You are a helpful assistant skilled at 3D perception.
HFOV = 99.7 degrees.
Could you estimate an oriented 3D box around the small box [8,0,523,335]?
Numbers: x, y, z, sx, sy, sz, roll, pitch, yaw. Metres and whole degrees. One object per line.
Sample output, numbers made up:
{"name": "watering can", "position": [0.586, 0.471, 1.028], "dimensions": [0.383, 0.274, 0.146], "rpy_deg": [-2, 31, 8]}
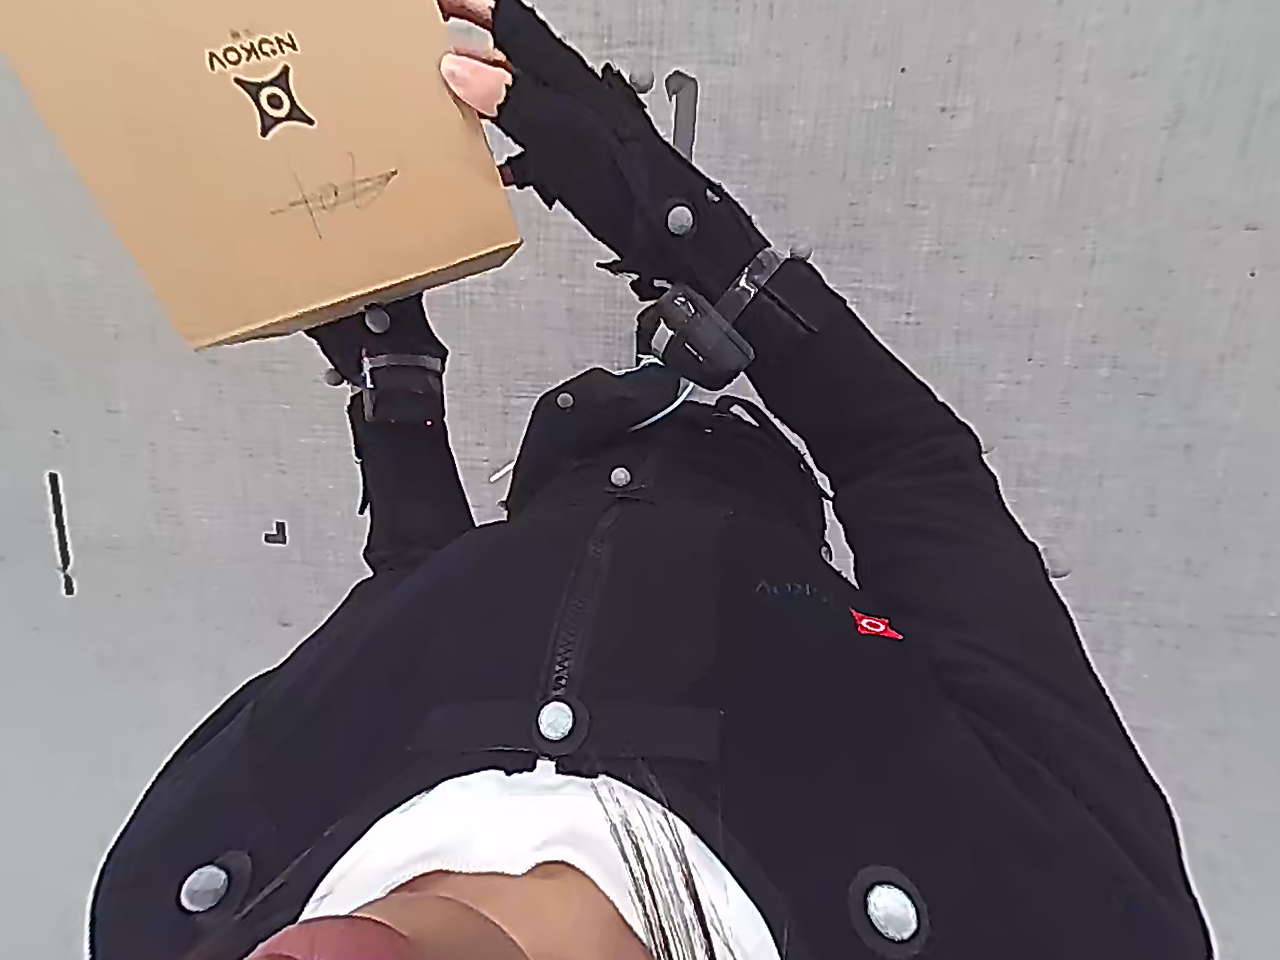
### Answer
{"name": "small box", "position": [-0.185, -0.197, 0.321], "dimensions": [0.168, 0.176, 0.179], "rpy_deg": [-23, 113, -9]}
